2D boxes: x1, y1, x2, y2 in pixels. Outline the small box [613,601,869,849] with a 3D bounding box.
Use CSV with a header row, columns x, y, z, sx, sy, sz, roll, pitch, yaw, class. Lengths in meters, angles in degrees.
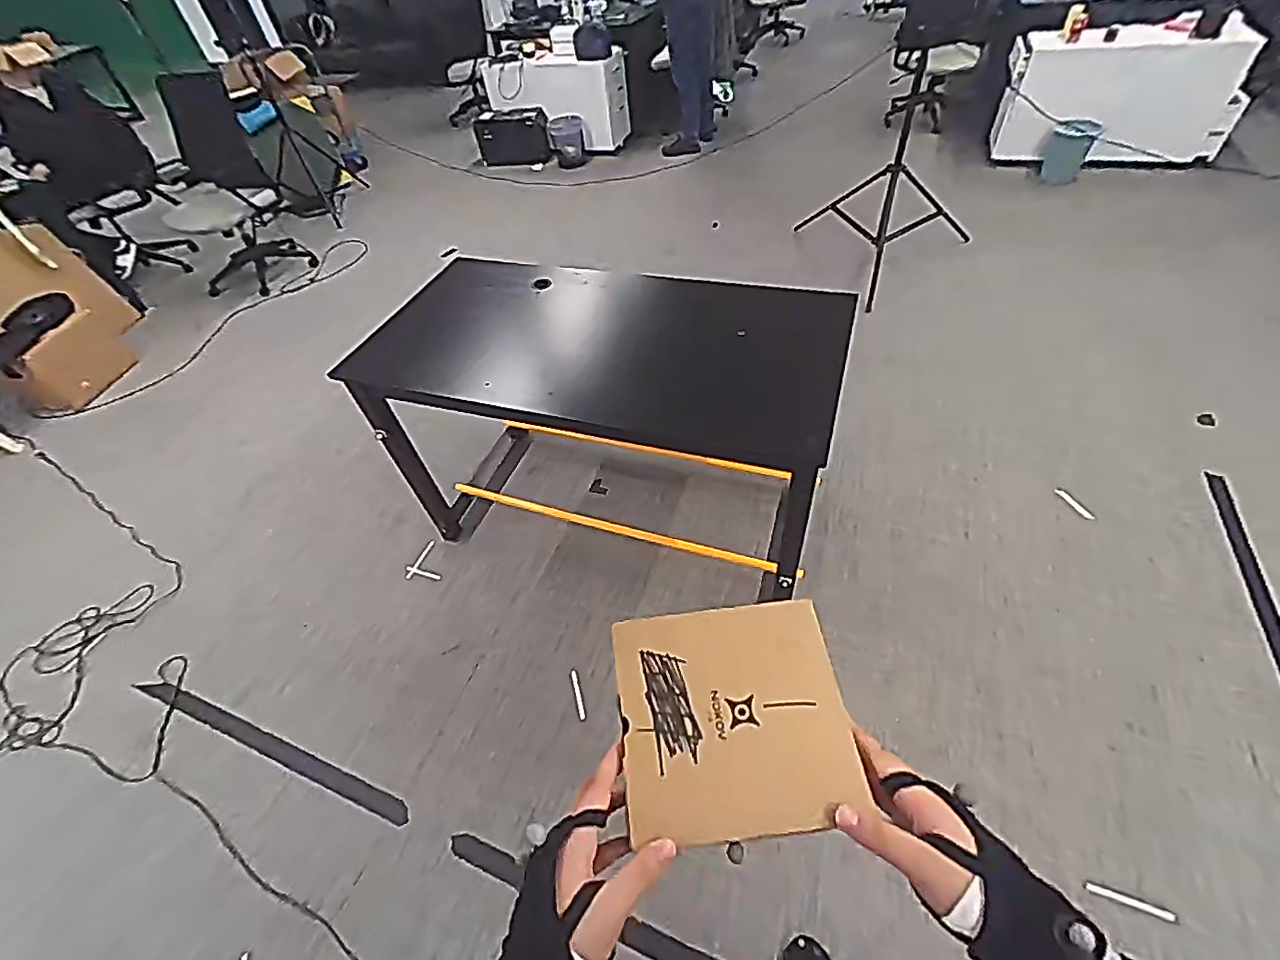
x,y,z,sx,sy,sz,roll,pitch,yaw,class
0.077,0.228,0.492,0.179,0.176,0.168,-7,55,0,small box
